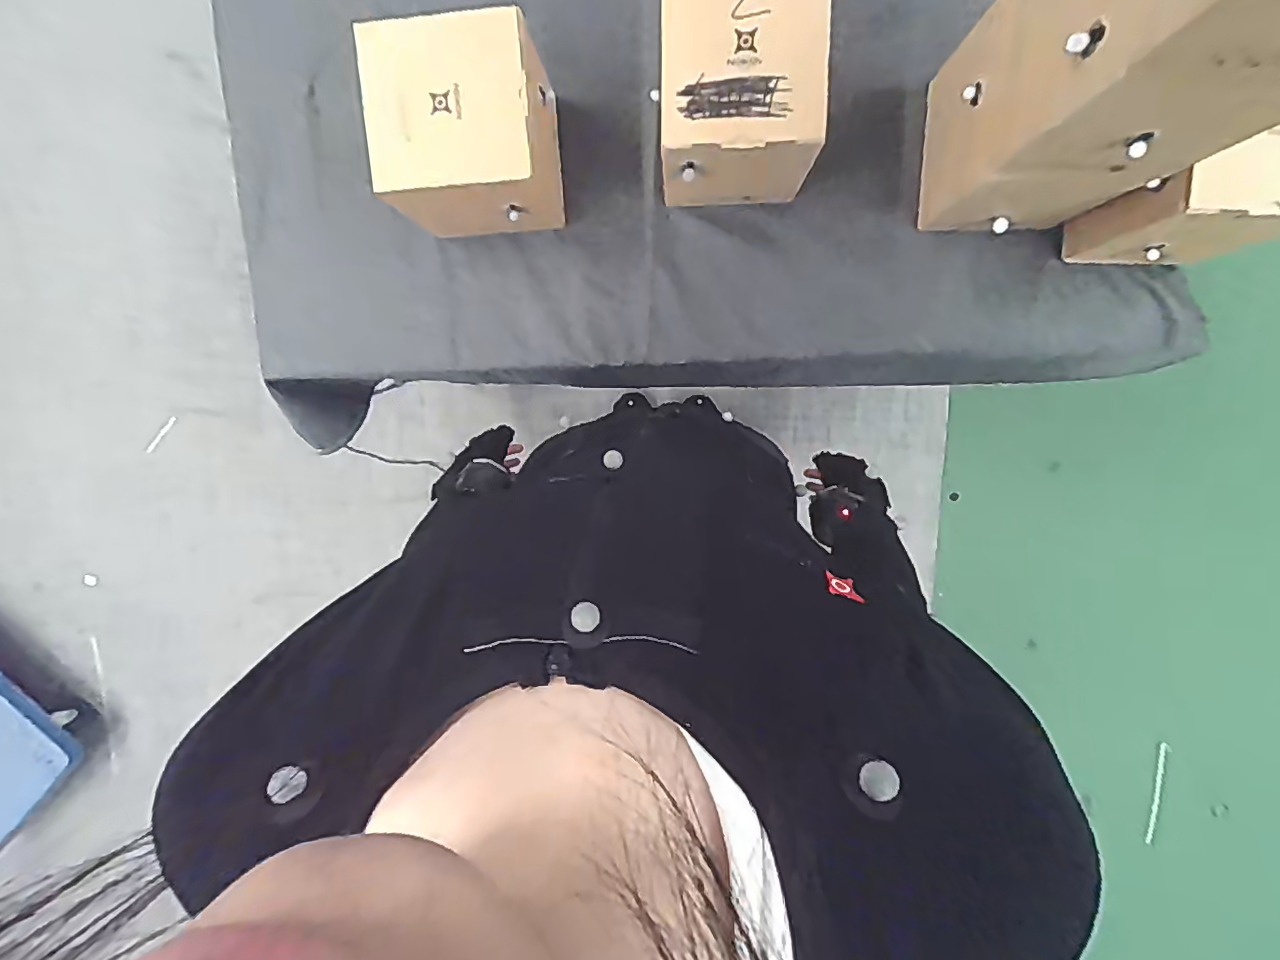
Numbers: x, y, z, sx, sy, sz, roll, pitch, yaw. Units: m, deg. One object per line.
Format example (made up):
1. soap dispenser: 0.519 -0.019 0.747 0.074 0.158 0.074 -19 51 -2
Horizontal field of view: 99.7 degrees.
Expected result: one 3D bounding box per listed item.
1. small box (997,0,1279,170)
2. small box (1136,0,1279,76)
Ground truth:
1. small box: 0.423 -0.372 0.434 0.168 0.176 0.179 3 98 3
2. small box: 0.410 -0.348 0.272 0.168 0.176 0.179 5 98 4
